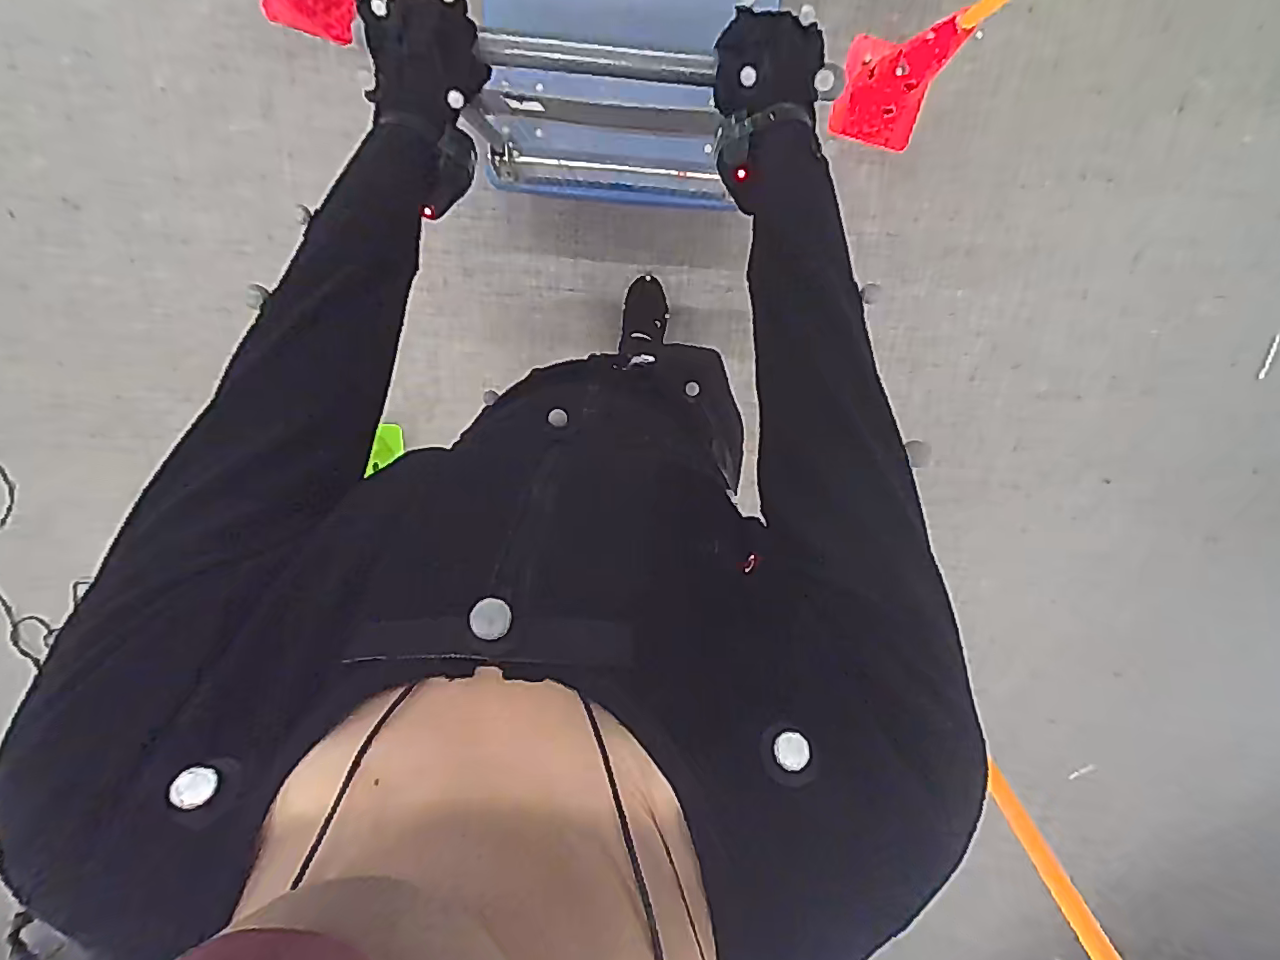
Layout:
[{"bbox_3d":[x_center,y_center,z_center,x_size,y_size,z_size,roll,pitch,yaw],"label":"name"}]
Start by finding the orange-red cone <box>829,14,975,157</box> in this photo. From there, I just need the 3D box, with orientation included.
[{"bbox_3d":[0.553,-0.819,1.082,0.198,0.360,0.199,14,108,-4],"label":"orange-red cone"}]
